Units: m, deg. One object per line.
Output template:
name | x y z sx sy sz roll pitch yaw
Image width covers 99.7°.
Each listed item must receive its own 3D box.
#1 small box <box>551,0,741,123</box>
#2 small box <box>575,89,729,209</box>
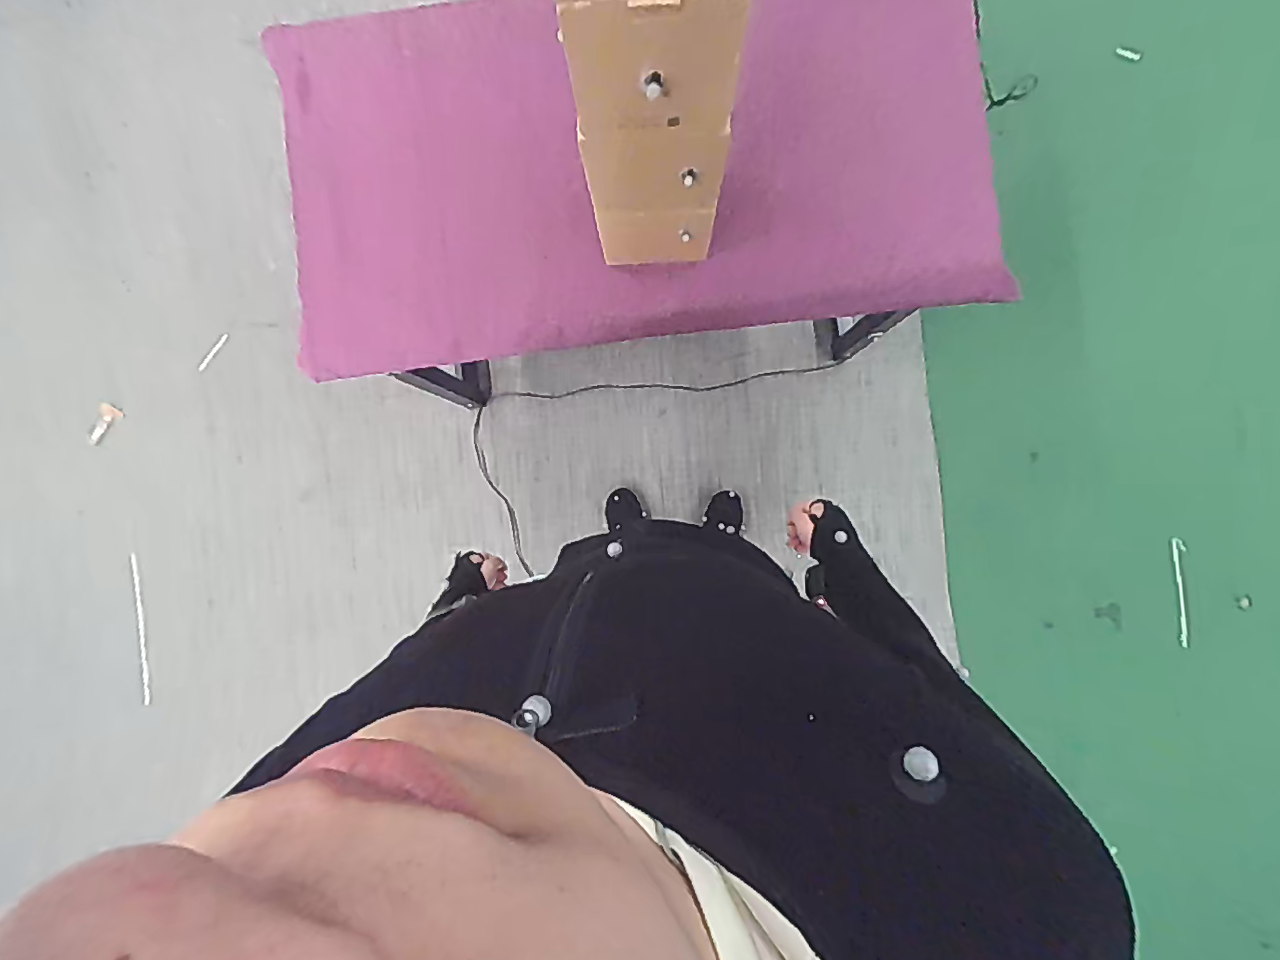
small box | 0.008 -0.482 0.529 0.168 0.176 0.179 -2 88 2
small box | 0.015 -0.470 0.691 0.179 0.176 0.168 -2 88 3
